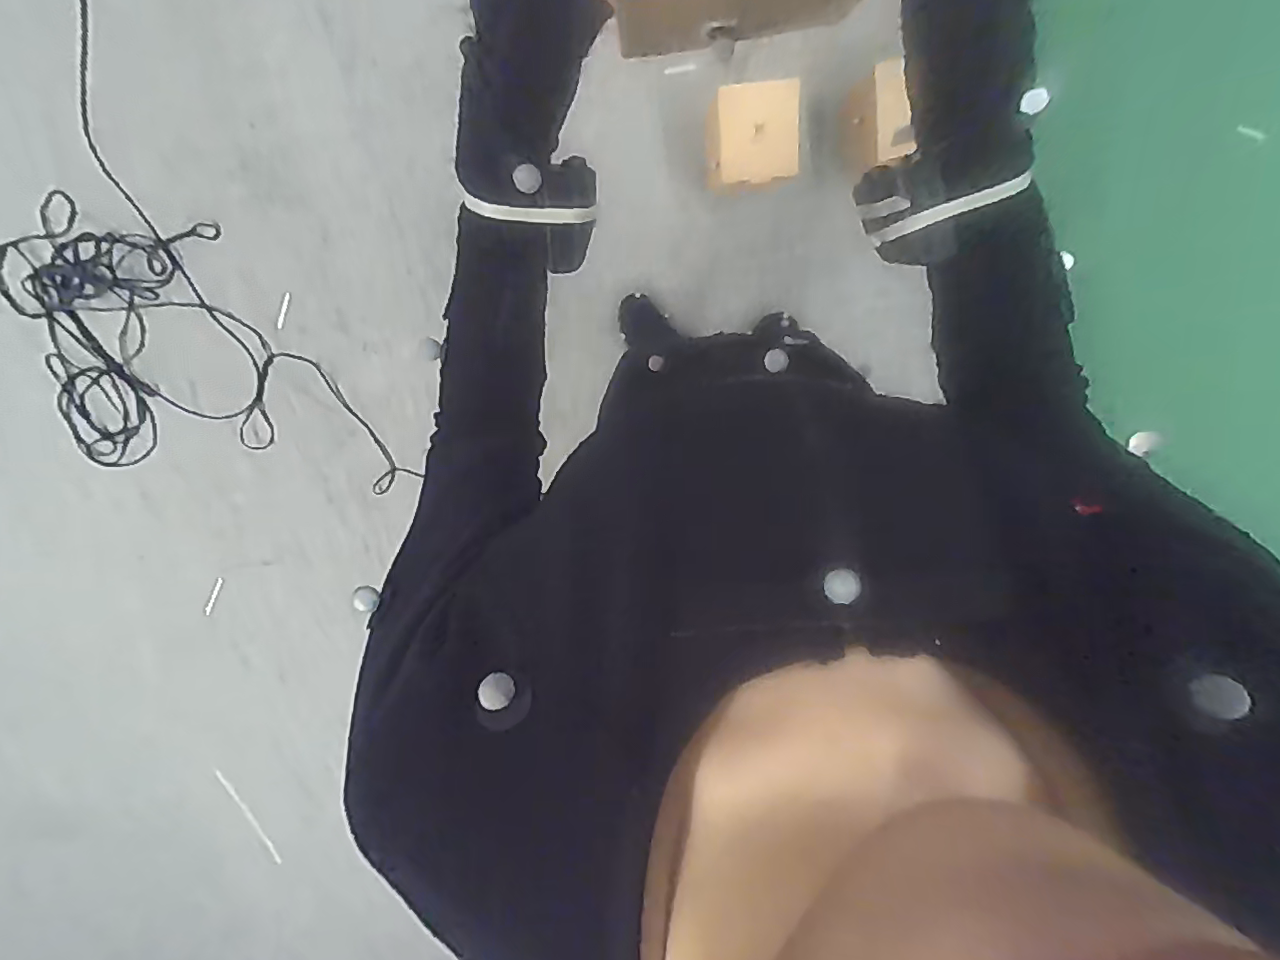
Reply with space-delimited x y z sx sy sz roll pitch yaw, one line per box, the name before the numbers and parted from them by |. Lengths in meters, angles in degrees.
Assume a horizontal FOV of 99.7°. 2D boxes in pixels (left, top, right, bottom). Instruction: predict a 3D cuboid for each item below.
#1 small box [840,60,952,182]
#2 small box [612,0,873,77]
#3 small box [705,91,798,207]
small box | 0.555 -0.770 1.184 0.168 0.176 0.179 -12 108 1
small box | 0.056 -0.364 0.300 0.168 0.176 0.179 -7 113 4
small box | 0.240 -0.717 1.188 0.168 0.176 0.179 -7 110 0
